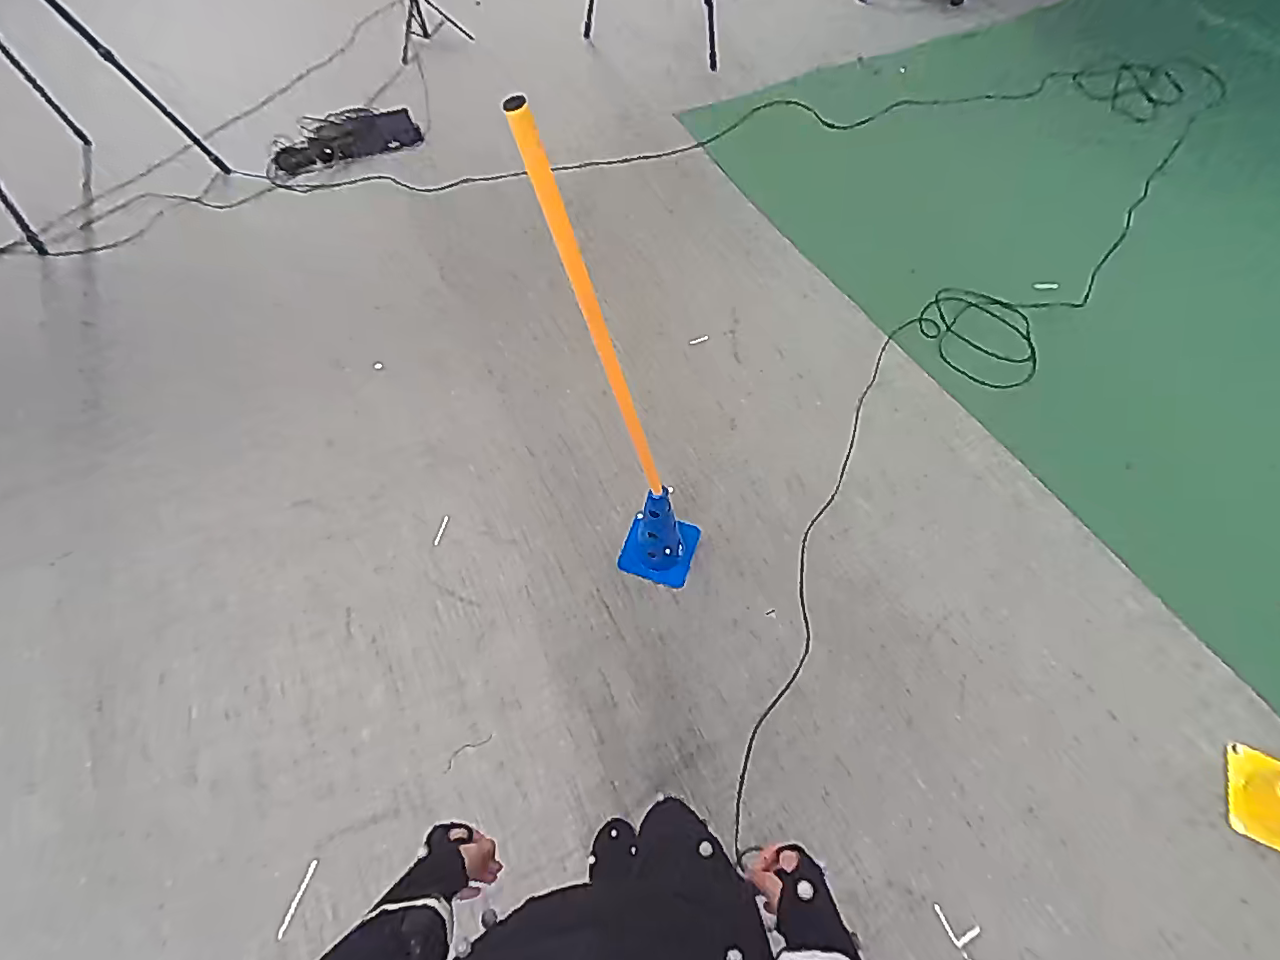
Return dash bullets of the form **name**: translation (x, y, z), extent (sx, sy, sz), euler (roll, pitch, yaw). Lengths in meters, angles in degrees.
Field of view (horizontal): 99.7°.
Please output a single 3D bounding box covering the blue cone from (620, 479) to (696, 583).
- **blue cone**: translation (0.041, 0.111, 1.381), extent (0.193, 0.380, 0.192), euler (15, 63, 11)
